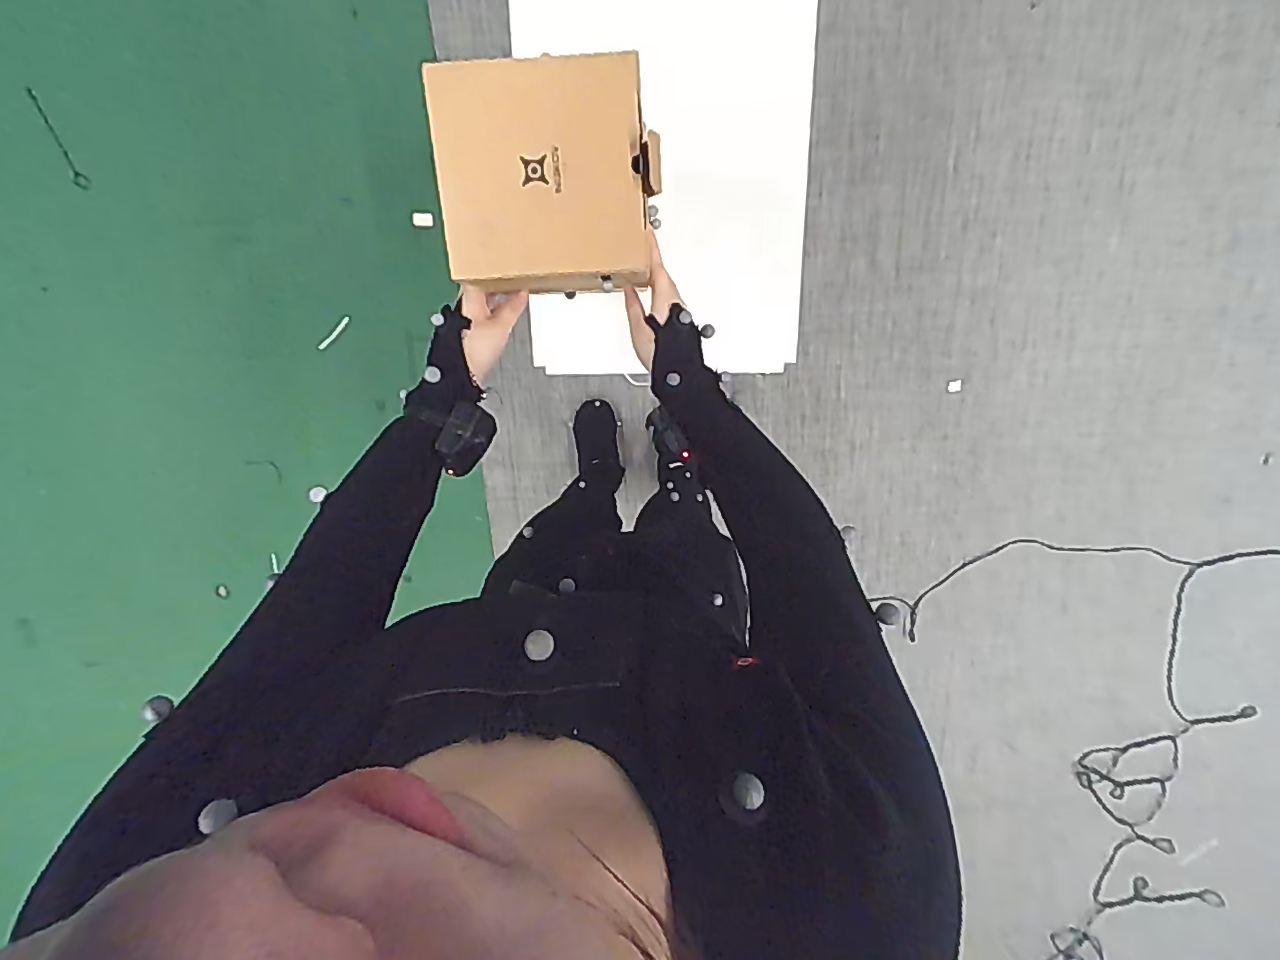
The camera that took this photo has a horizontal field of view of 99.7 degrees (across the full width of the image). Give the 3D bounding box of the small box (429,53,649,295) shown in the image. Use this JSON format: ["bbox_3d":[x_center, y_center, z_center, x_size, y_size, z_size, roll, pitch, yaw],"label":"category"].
[{"bbox_3d":[-0.081,-0.278,0.531,0.179,0.176,0.168,-3,104,1],"label":"small box"}]
